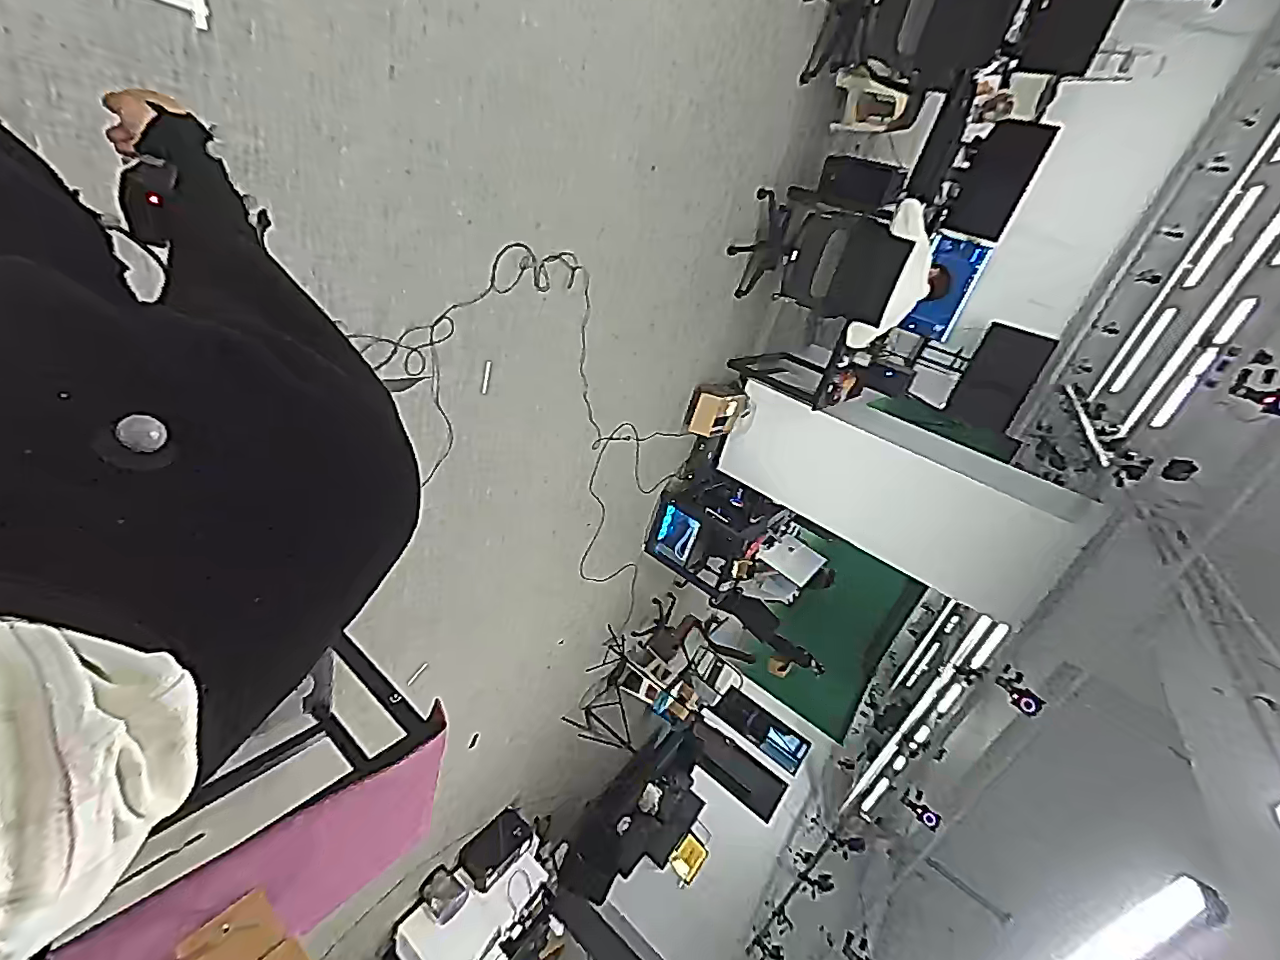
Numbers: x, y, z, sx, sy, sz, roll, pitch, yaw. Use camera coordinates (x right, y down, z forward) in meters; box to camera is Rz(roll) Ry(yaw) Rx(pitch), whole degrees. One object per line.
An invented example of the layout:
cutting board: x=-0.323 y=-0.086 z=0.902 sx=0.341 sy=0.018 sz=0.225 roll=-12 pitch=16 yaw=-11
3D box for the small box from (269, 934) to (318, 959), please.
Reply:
small box: x=-0.851 y=1.243 z=1.279 sx=0.179 sy=0.176 sz=0.168 roll=-24 pitch=138 yaw=-50

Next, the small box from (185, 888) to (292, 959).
small box: x=-0.990 y=1.180 z=1.339 sx=0.179 sy=0.176 sz=0.168 roll=-23 pitch=139 yaw=-49
